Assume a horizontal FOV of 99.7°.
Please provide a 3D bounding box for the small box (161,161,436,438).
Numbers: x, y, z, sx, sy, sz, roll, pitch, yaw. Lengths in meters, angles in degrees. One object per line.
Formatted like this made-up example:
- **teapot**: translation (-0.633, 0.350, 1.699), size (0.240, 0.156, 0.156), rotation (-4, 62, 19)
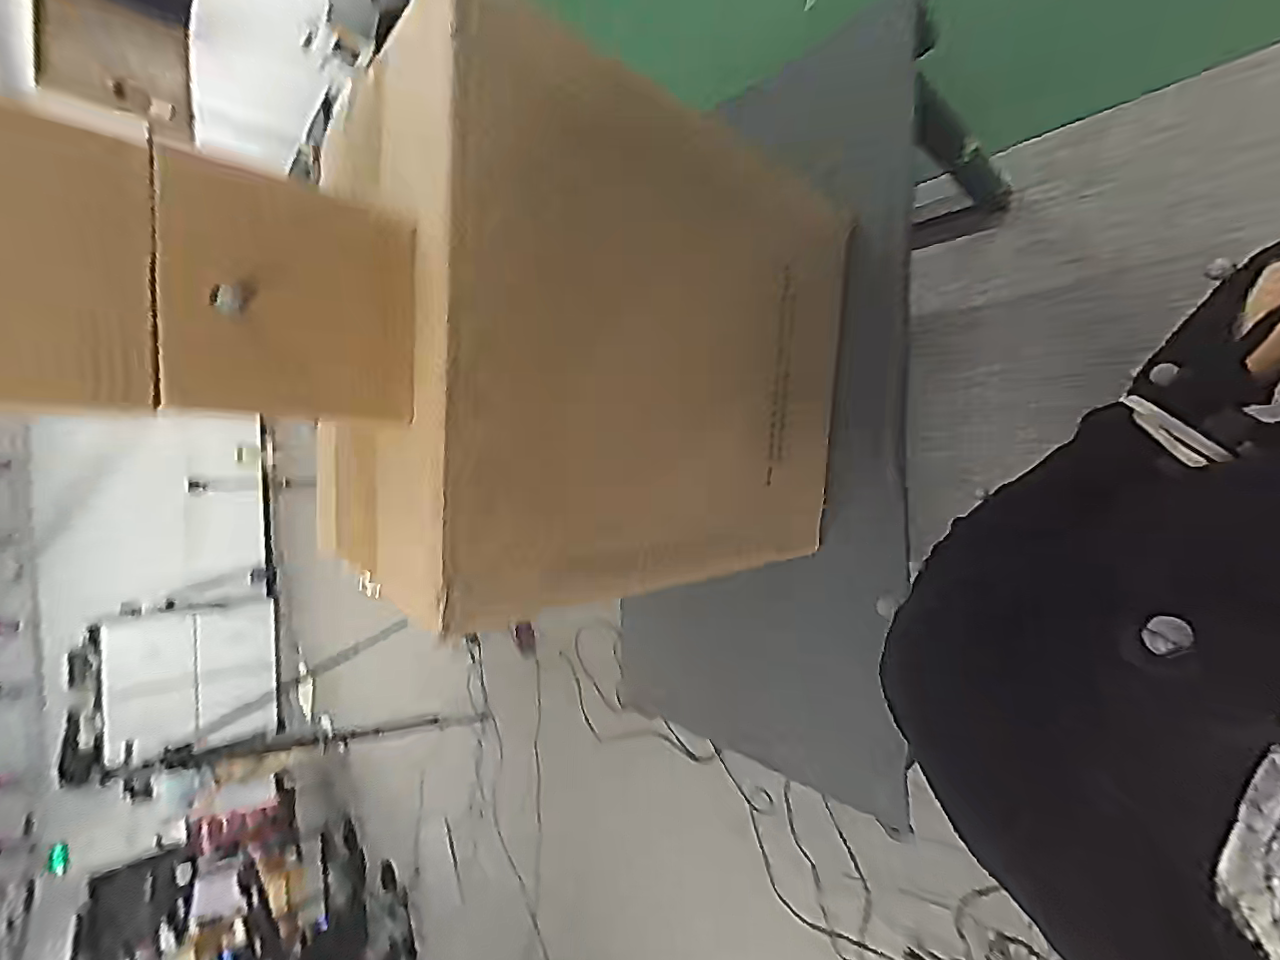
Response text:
- **small box**: translation (-0.289, -0.130, 0.464), size (0.168, 0.176, 0.179), rotation (9, 98, 44)
